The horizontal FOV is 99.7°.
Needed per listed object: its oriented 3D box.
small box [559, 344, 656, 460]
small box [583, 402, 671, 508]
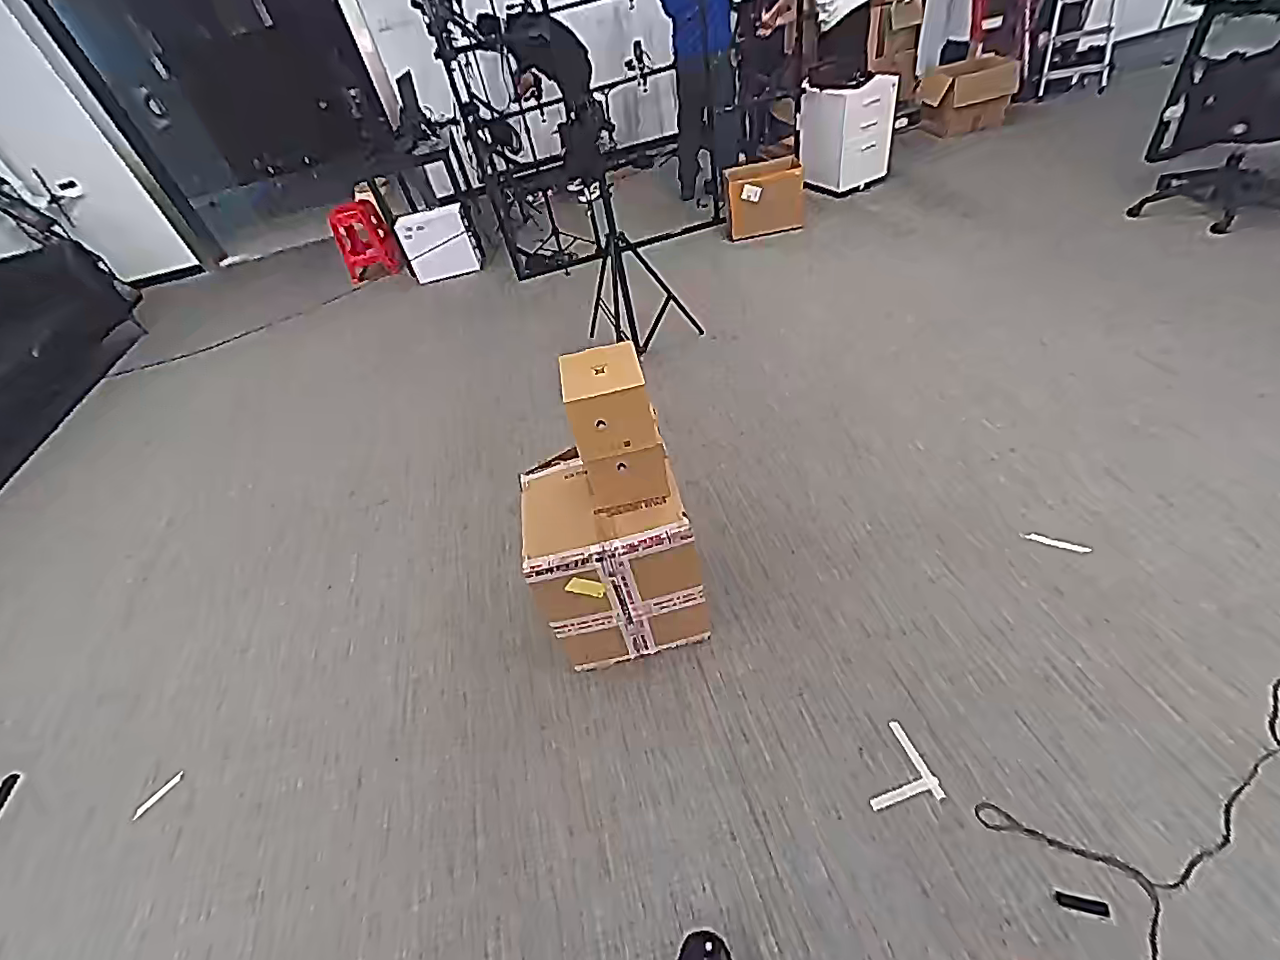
[{"bbox_3d":[-0.068,-0.160,1.158,0.168,0.176,0.179,-14,44,-1],"label":"small box"},{"bbox_3d":[-0.033,-0.054,1.276,0.179,0.176,0.168,-12,45,1],"label":"small box"}]
